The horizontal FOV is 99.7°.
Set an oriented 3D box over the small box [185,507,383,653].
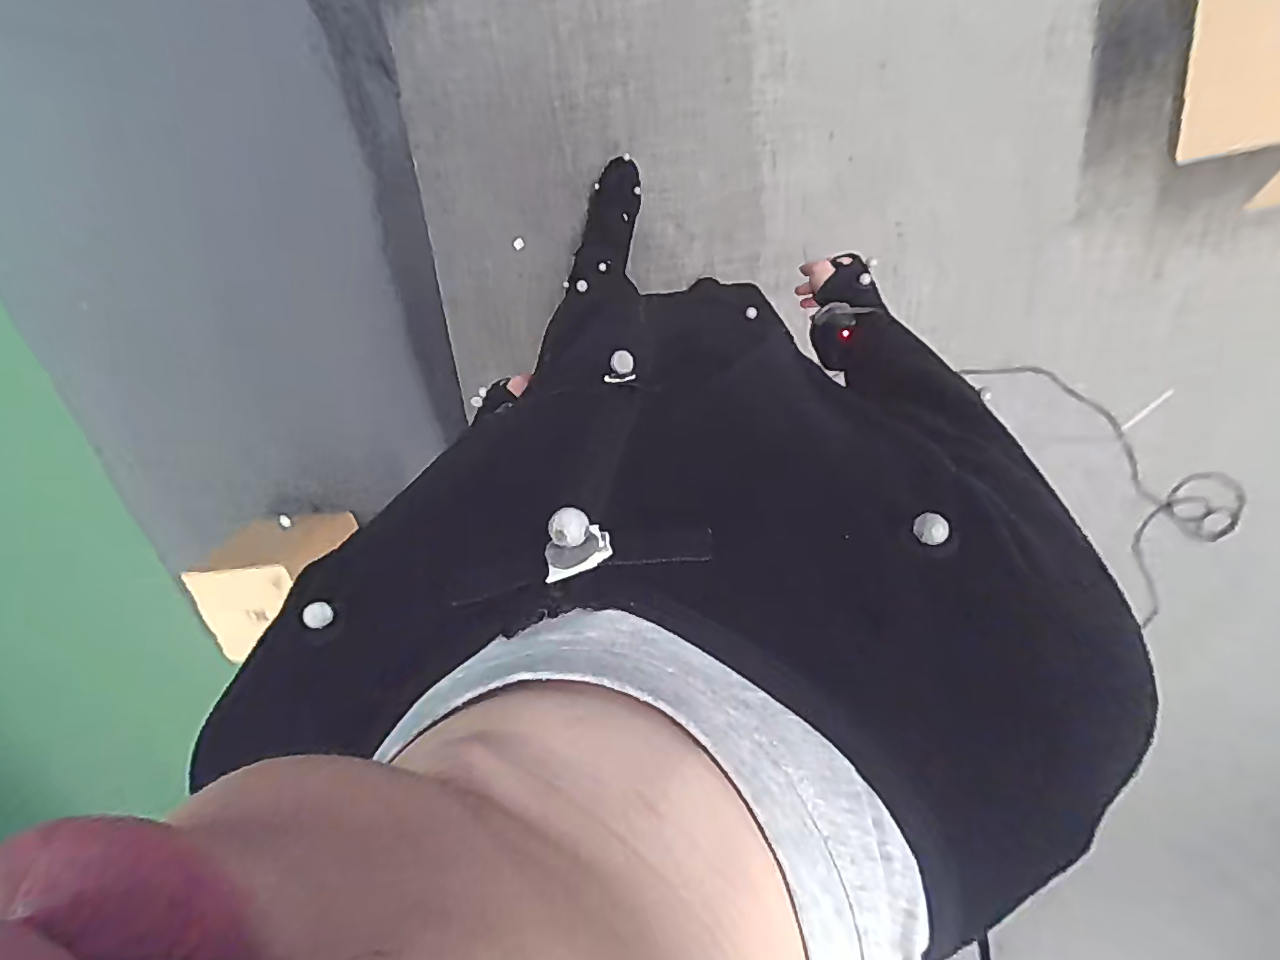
[{"bbox_3d":[-0.563,0.158,0.882,0.179,0.176,0.168,-6,116,9],"label":"small box"}]
